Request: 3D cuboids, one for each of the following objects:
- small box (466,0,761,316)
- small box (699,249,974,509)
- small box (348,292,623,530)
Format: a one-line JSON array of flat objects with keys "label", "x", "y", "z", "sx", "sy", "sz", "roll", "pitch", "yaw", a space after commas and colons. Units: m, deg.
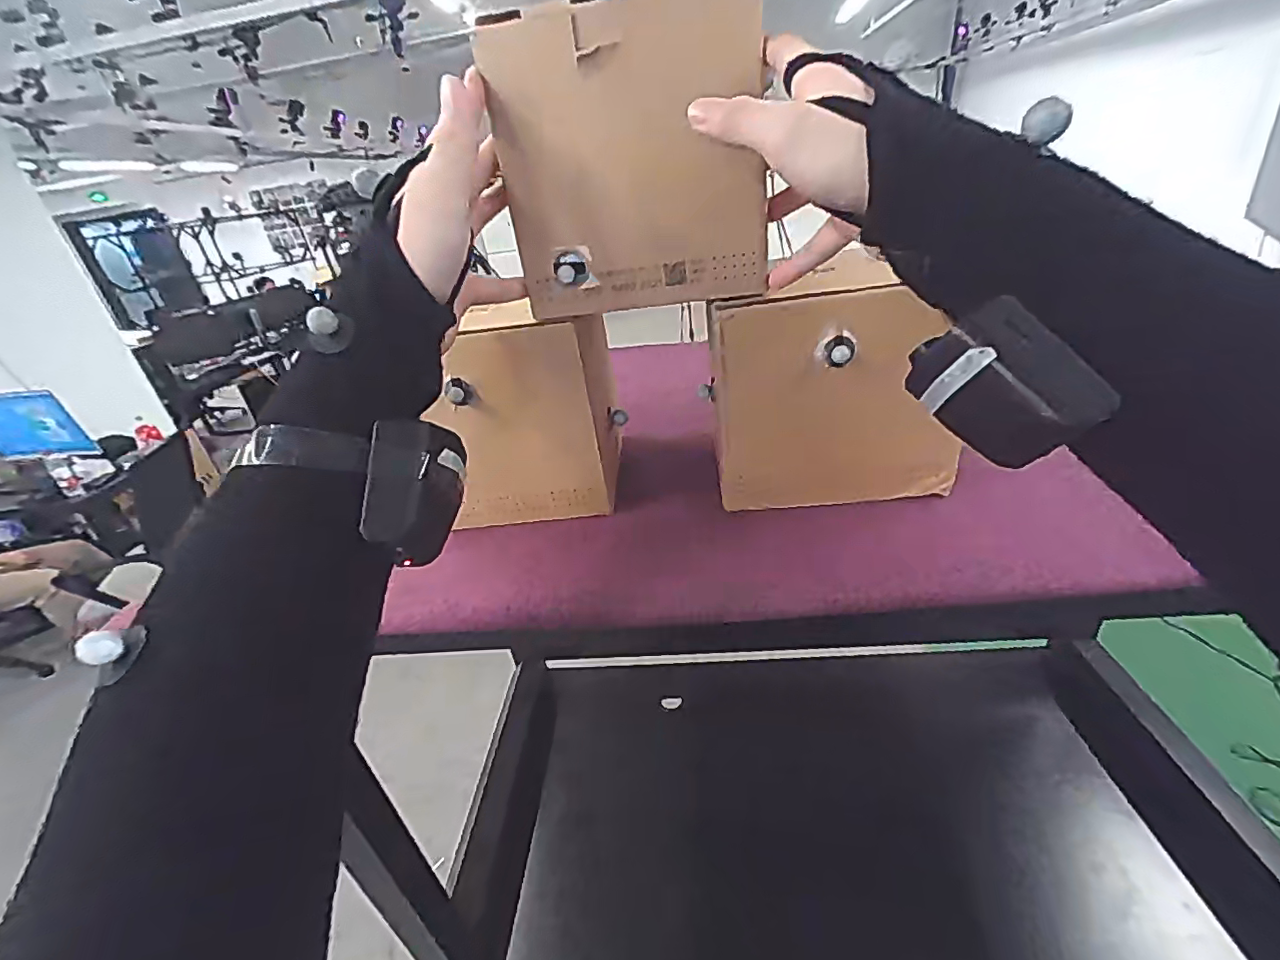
[{"label": "small box", "x": 0.000, "y": -0.227, "z": 0.407, "sx": 0.168, "sy": 0.176, "sz": 0.179, "roll": -4, "pitch": 29, "yaw": 9}, {"label": "small box", "x": 0.146, "y": -0.087, "z": 0.458, "sx": 0.179, "sy": 0.176, "sz": 0.168, "roll": -5, "pitch": 29, "yaw": 7}, {"label": "small box", "x": -0.118, "y": -0.068, "z": 0.498, "sx": 0.179, "sy": 0.176, "sz": 0.168, "roll": -6, "pitch": 30, "yaw": 5}]
